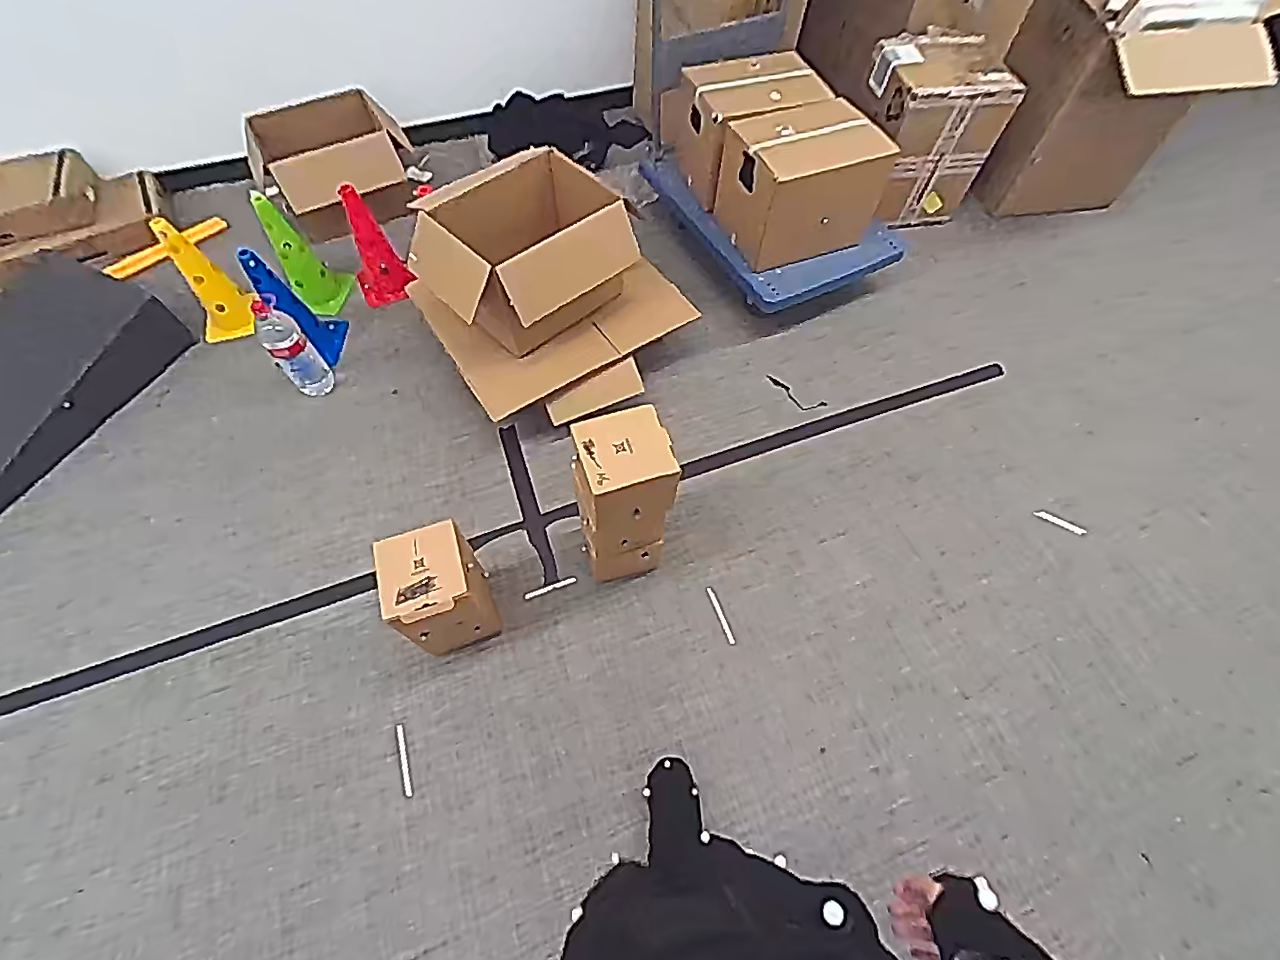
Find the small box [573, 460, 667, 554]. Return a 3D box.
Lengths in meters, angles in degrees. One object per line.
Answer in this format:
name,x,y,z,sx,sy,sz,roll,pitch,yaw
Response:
small box,-0.050,0.046,1.246,0.168,0.176,0.179,-17,64,-12

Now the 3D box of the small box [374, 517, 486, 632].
small box,-0.439,0.209,1.147,0.168,0.176,0.179,-17,62,-10

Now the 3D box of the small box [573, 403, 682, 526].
small box,-0.031,-0.028,1.101,0.179,0.176,0.168,-15,64,-11

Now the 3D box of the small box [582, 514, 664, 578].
small box,-0.049,0.134,1.383,0.179,0.176,0.168,-13,62,-9

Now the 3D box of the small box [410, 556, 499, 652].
small box,-0.447,0.289,1.291,0.179,0.176,0.168,-21,63,-11
